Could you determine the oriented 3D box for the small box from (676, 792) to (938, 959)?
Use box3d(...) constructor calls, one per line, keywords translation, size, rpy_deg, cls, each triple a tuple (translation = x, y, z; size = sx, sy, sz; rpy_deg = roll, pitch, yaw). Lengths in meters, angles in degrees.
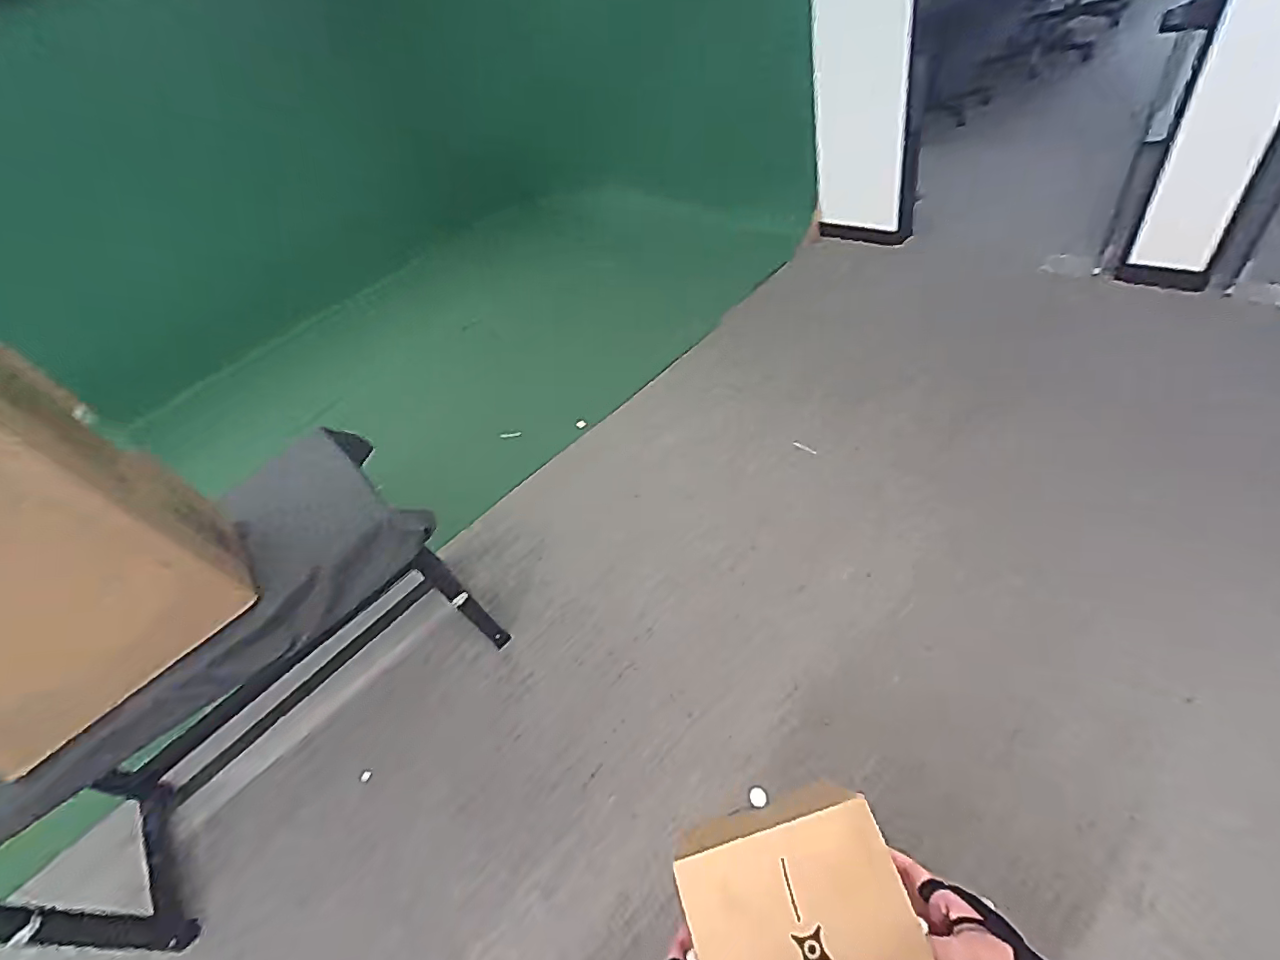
box3d(translation=(0.139, 0.388, 0.457), size=(0.168, 0.176, 0.179), rpy_deg=(-19, 62, -3), cls="small box")
